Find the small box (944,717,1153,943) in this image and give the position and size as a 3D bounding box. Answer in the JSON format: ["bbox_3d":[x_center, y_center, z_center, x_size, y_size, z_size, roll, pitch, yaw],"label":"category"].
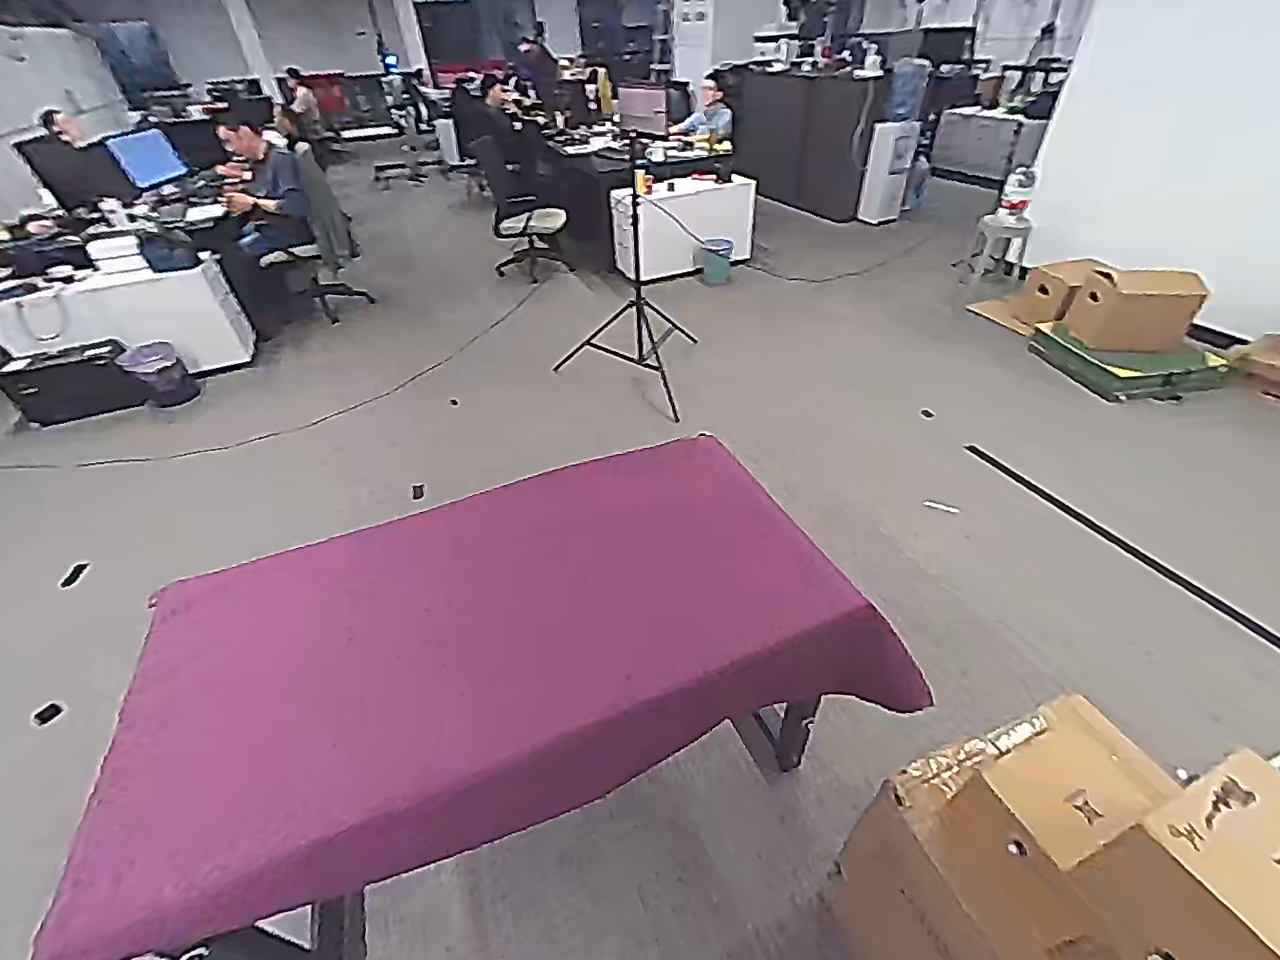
[{"bbox_3d":[0.544,0.457,0.711,0.168,0.176,0.179,-18,44,-15],"label":"small box"}]

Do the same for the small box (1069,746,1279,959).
[{"bbox_3d":[0.579,0.403,0.518,0.168,0.176,0.179,-19,42,-15],"label":"small box"}]
